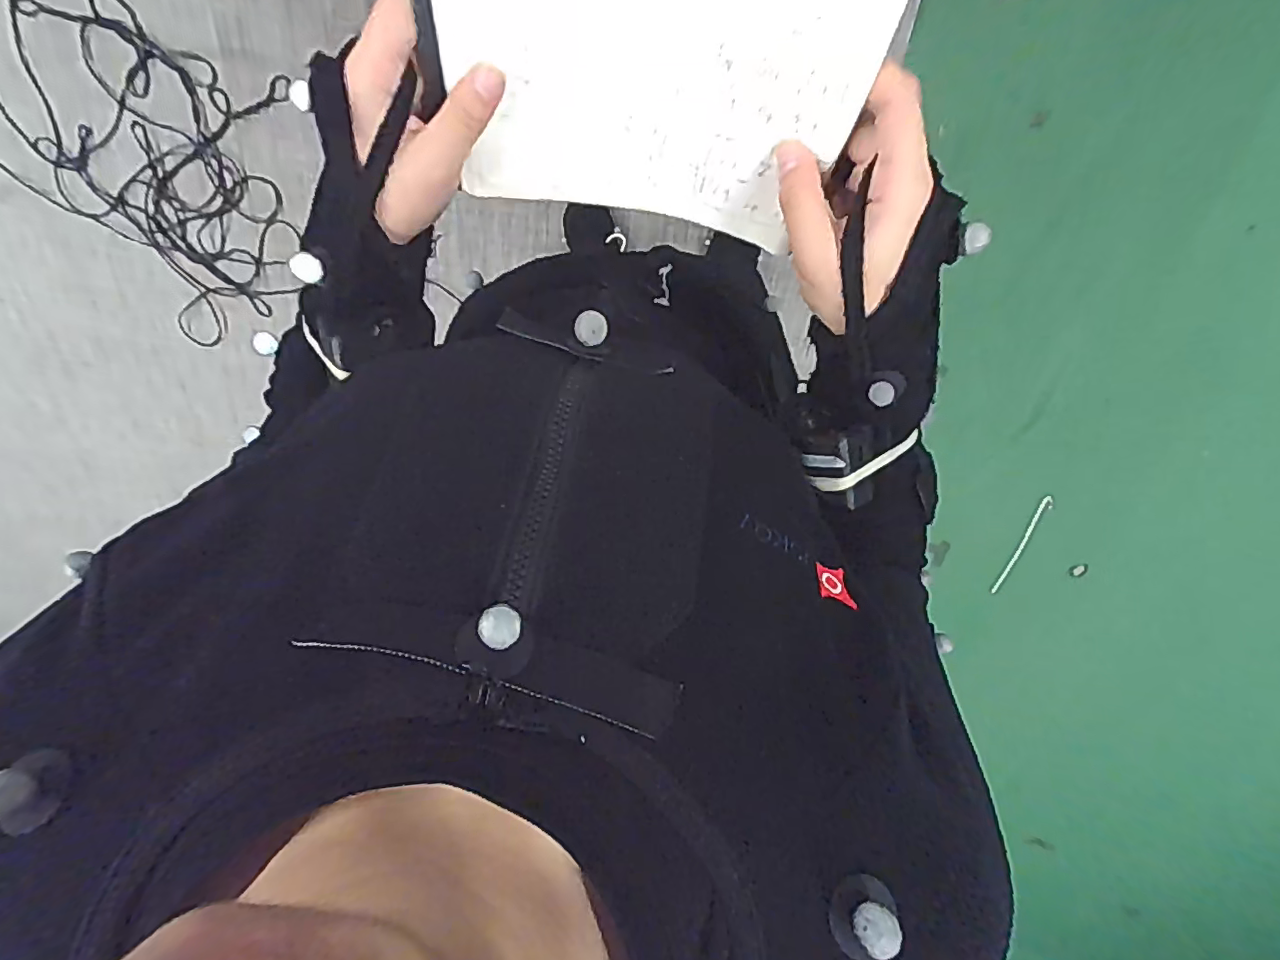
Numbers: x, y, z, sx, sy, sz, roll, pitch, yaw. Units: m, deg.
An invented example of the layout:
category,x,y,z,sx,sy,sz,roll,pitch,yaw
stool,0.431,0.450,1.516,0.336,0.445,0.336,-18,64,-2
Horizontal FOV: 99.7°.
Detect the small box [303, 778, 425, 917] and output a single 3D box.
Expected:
category,x,y,z,sx,sy,sz,roll,pitch,yaw
small box,-0.569,0.772,1.143,0.168,0.176,0.179,10,118,1
